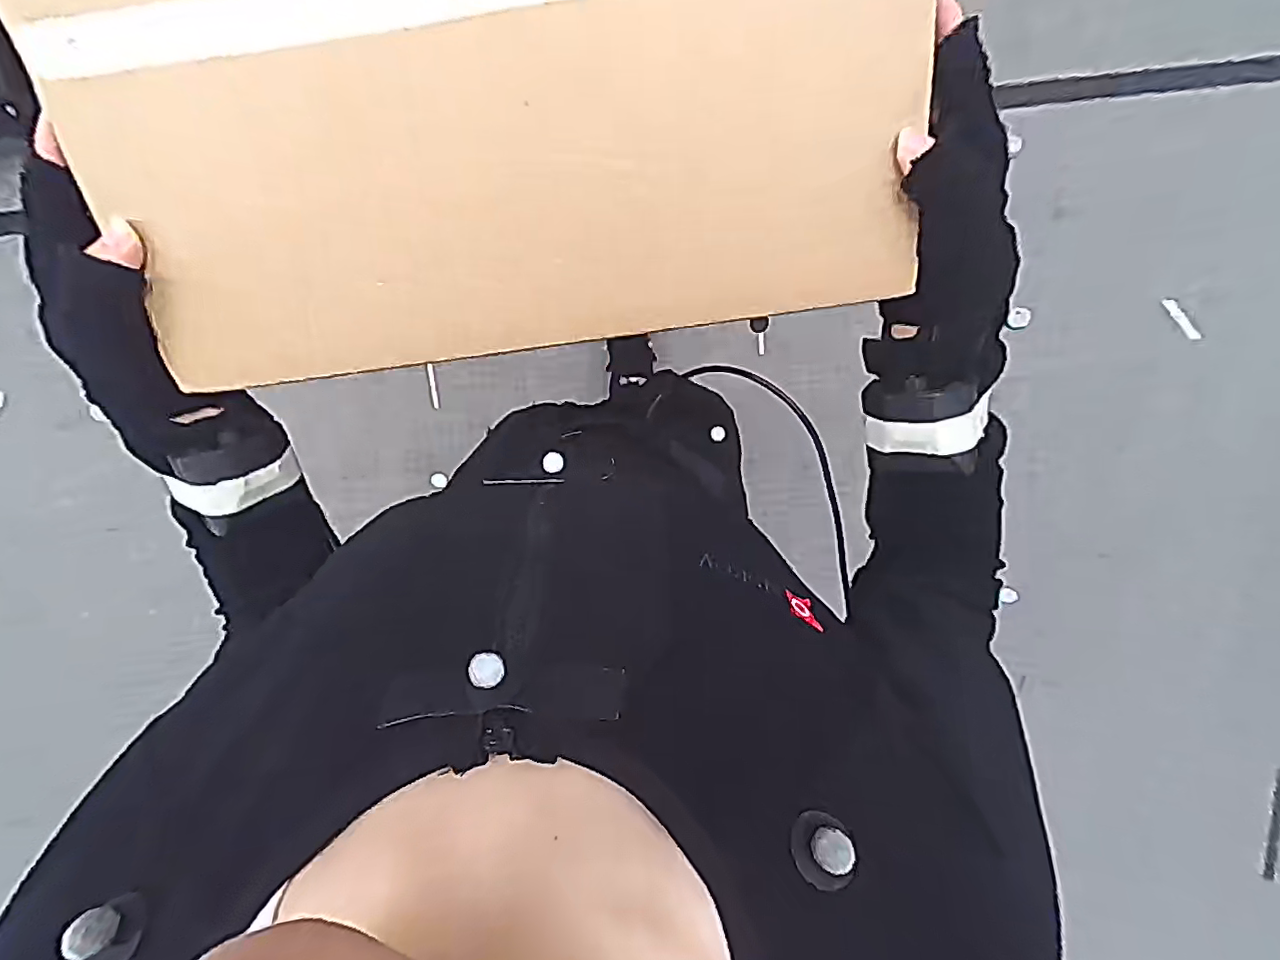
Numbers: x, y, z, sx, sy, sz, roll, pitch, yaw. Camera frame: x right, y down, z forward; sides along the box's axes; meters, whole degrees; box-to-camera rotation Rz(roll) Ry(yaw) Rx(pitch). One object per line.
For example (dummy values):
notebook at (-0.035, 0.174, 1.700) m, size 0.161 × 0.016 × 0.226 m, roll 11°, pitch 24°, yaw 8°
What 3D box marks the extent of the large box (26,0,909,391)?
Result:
large box at (-0.076, -0.276, 0.383) m, size 0.408 × 0.320 × 0.320 m, roll -8°, pitch 112°, yaw 2°
